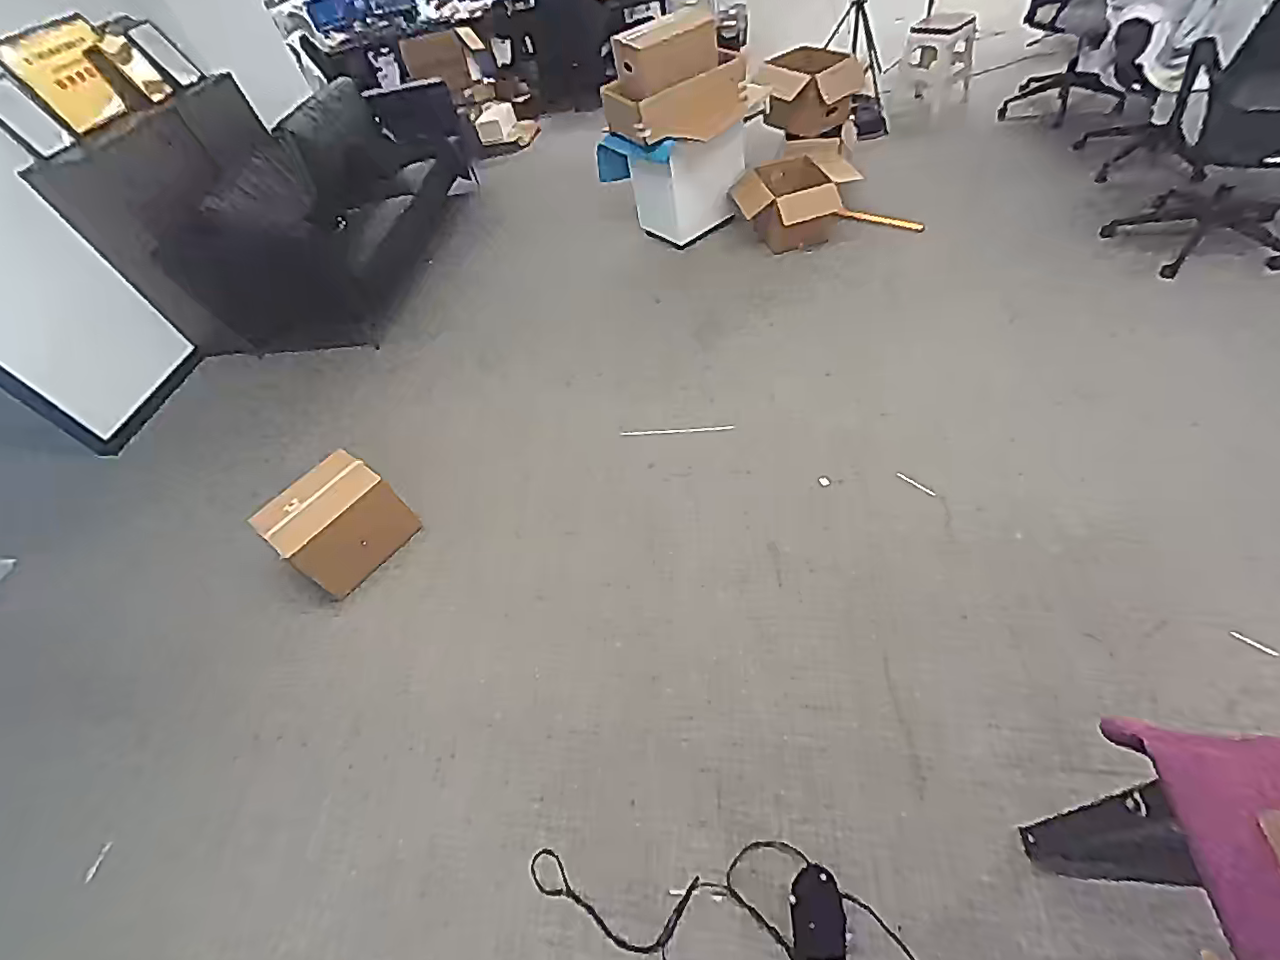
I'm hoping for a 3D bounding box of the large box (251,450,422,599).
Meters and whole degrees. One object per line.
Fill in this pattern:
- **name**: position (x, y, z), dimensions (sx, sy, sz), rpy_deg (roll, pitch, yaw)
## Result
- **large box**: position (-1.132, 0.165, 2.051), dimensions (0.320, 0.320, 0.408), rpy_deg (26, 63, 31)
